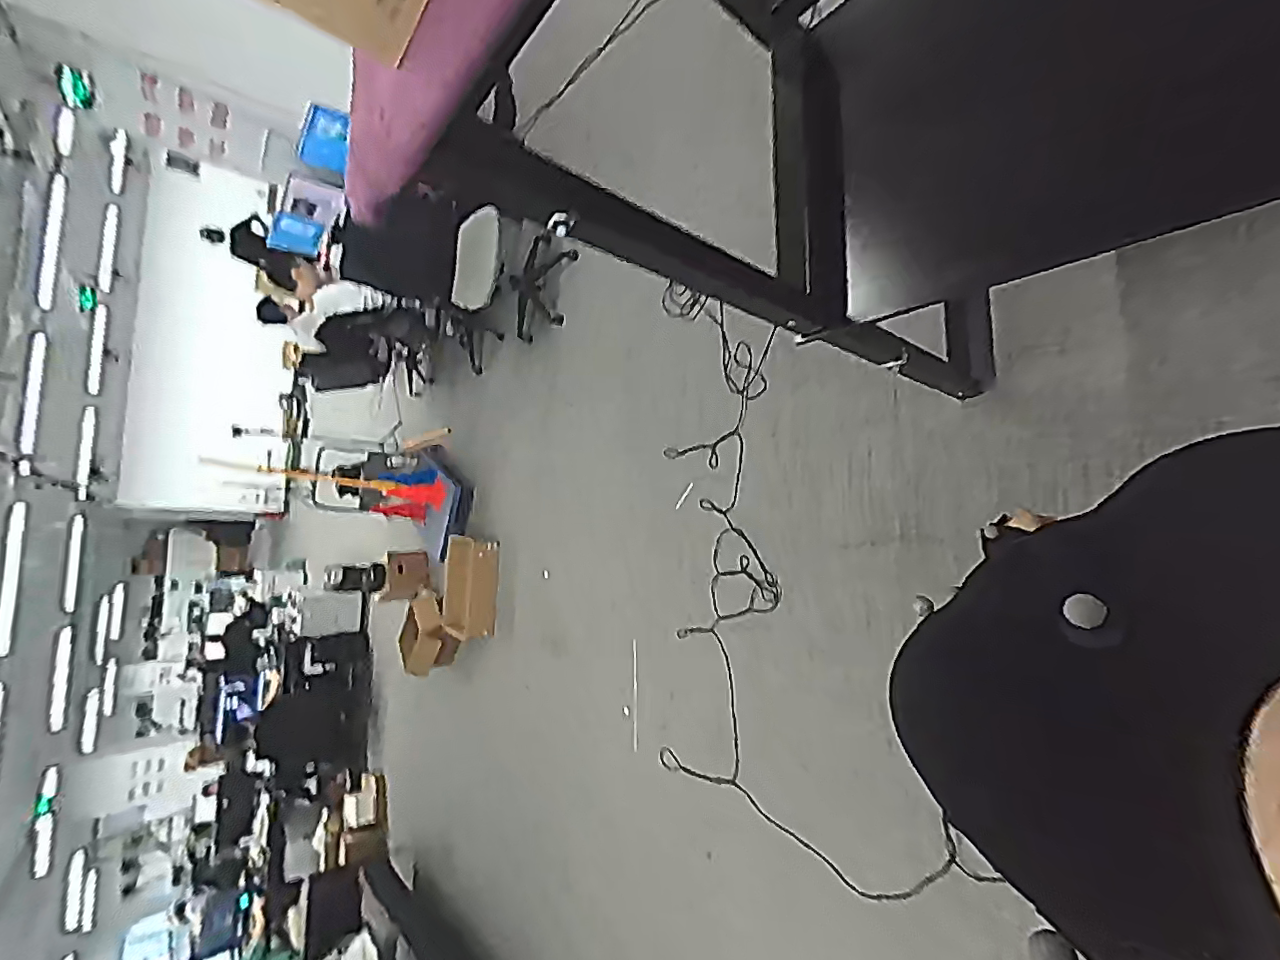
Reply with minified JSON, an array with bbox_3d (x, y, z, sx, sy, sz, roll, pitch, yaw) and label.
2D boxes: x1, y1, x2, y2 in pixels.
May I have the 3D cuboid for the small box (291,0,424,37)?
[{"bbox_3d":[-0.199,-0.424,0.325,0.168,0.176,0.179,-11,78,48],"label":"small box"}]
